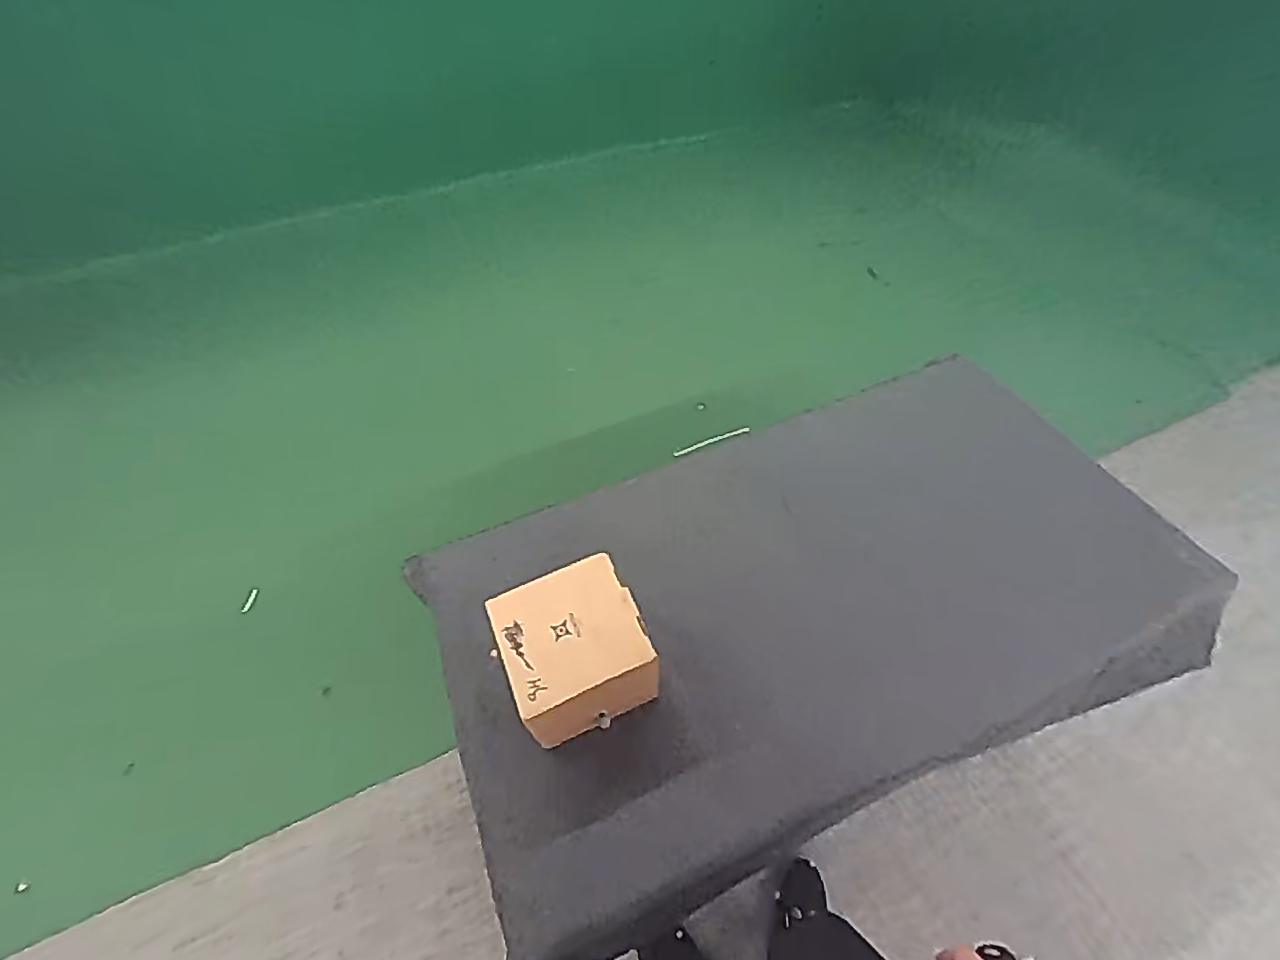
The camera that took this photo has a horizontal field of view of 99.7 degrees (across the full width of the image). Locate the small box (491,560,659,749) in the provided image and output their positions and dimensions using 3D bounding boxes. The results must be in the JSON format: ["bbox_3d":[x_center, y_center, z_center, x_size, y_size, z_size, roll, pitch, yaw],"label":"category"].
[{"bbox_3d":[-0.086,0.244,0.751,0.179,0.176,0.168,-20,55,-14],"label":"small box"}]
